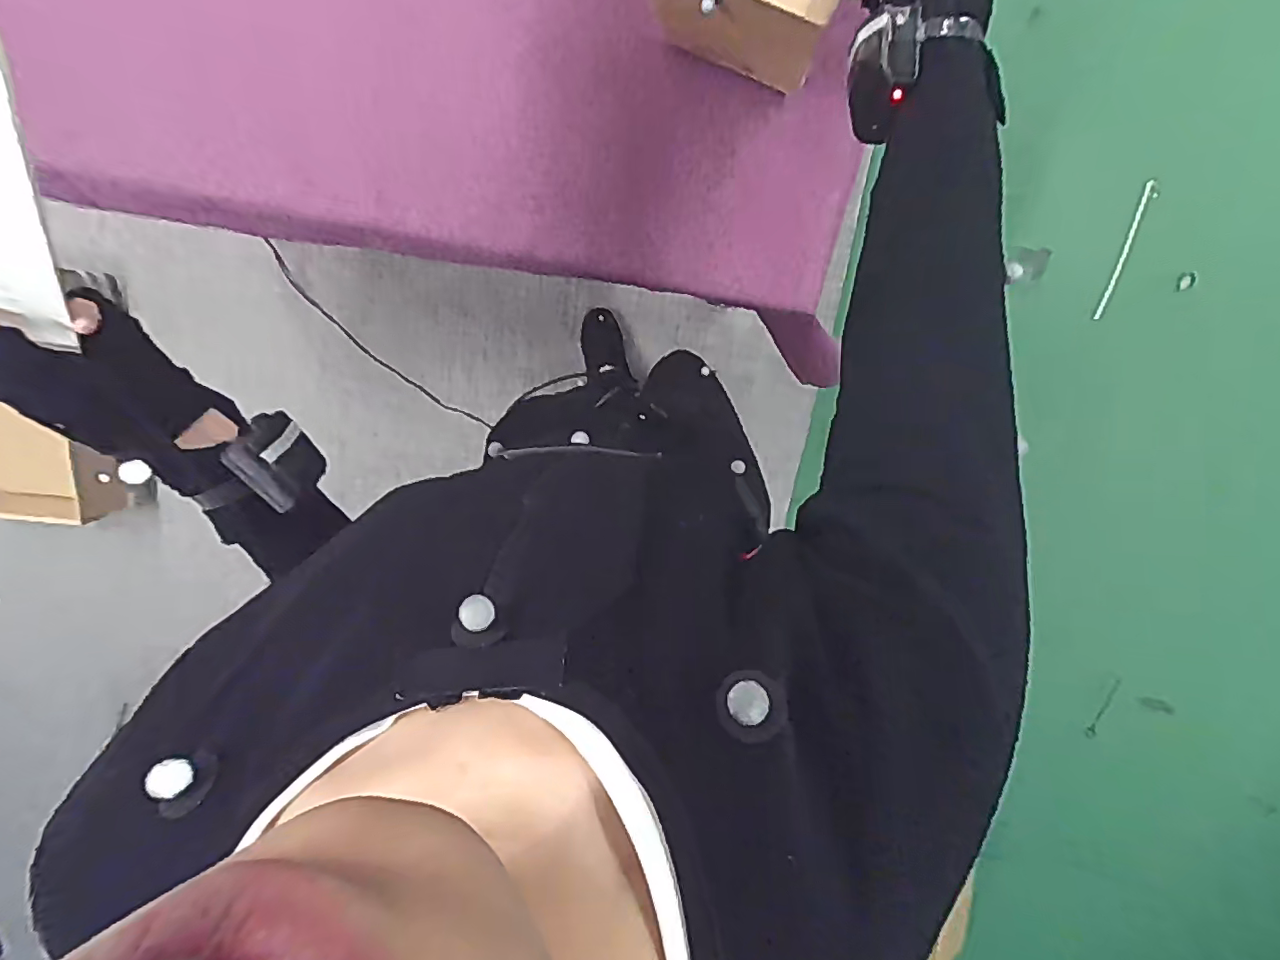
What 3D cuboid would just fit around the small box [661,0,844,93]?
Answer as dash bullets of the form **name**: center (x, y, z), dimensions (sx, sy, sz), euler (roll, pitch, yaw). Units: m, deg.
- **small box**: center (0.119, -0.492, 0.475), dimensions (0.168, 0.176, 0.179), euler (23, 110, -1)
